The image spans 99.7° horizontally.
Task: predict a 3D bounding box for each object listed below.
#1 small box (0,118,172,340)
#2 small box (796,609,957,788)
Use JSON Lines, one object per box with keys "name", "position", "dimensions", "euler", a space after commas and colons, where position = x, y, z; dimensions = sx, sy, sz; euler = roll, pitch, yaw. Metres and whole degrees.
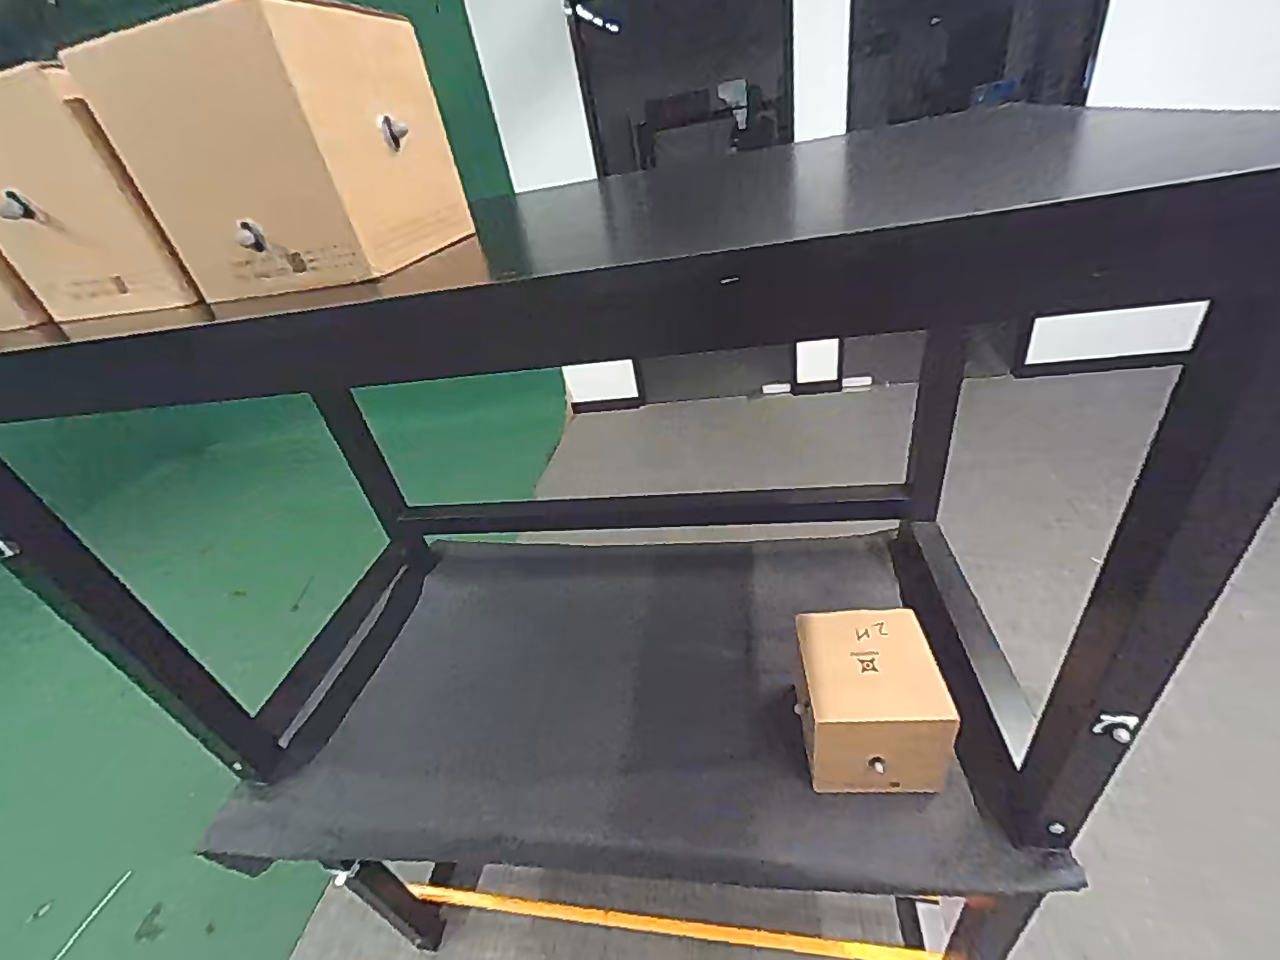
{"name": "small box", "position": [-0.629, -0.245, 0.538], "dimensions": [0.168, 0.176, 0.179], "euler": [-3, 35, 11]}
{"name": "small box", "position": [0.316, 0.306, 0.759], "dimensions": [0.168, 0.176, 0.179], "euler": [-5, 33, 9]}
